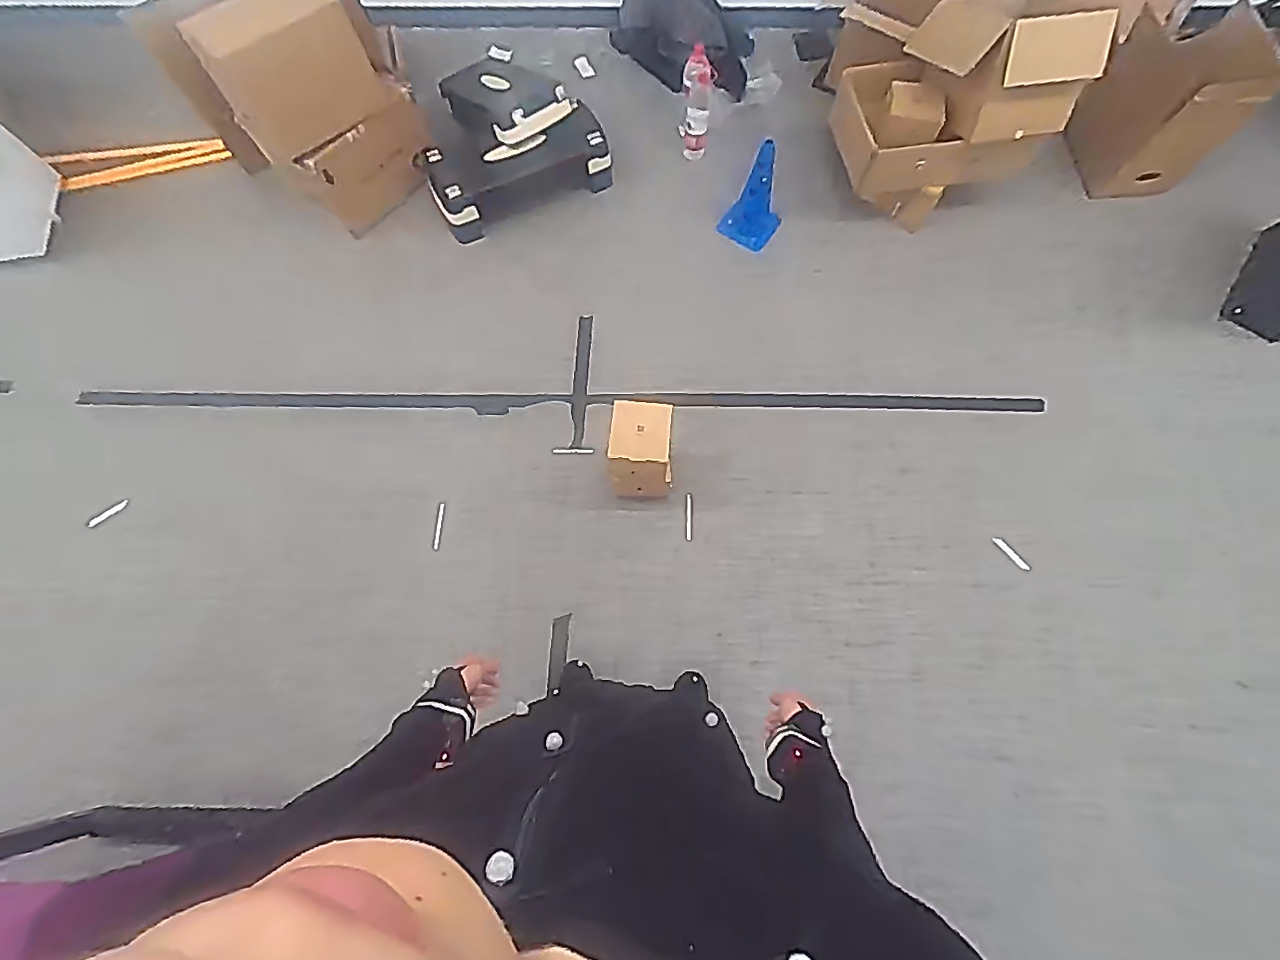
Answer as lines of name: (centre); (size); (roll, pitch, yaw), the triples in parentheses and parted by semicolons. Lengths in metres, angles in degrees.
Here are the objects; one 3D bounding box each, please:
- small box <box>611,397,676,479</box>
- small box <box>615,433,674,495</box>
small box: (0.010, -0.117, 1.561); (0.168, 0.176, 0.179); (5, 73, 2)
small box: (0.015, -0.055, 1.712); (0.179, 0.176, 0.168); (0, 72, 1)
